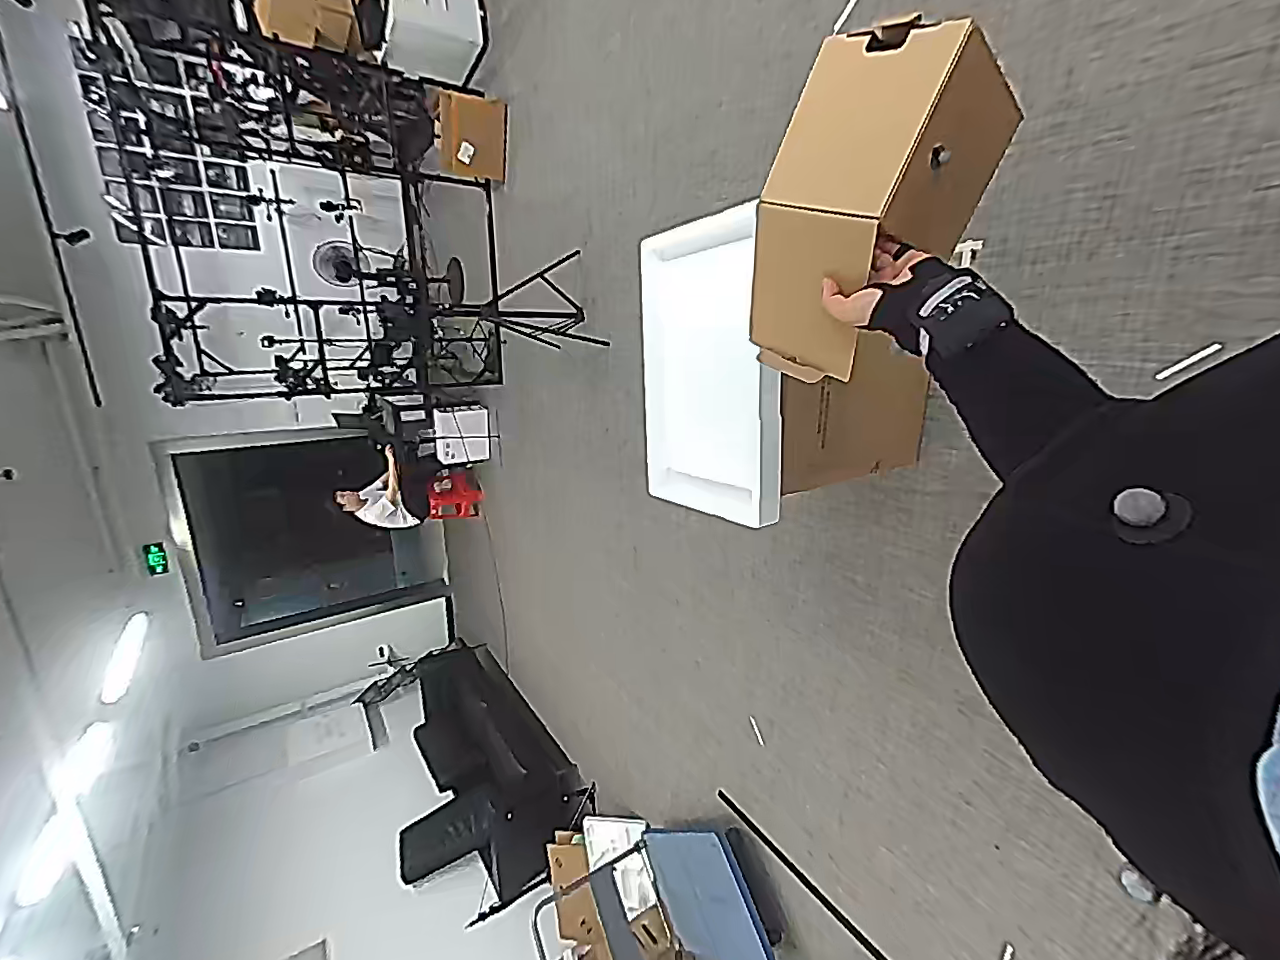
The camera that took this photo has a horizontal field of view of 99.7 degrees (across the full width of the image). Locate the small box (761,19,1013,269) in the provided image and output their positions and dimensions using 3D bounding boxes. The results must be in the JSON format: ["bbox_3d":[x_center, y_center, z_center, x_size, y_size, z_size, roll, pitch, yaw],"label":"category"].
[{"bbox_3d":[0.277,-0.359,0.607,0.168,0.176,0.179,39,114,43],"label":"small box"}]
